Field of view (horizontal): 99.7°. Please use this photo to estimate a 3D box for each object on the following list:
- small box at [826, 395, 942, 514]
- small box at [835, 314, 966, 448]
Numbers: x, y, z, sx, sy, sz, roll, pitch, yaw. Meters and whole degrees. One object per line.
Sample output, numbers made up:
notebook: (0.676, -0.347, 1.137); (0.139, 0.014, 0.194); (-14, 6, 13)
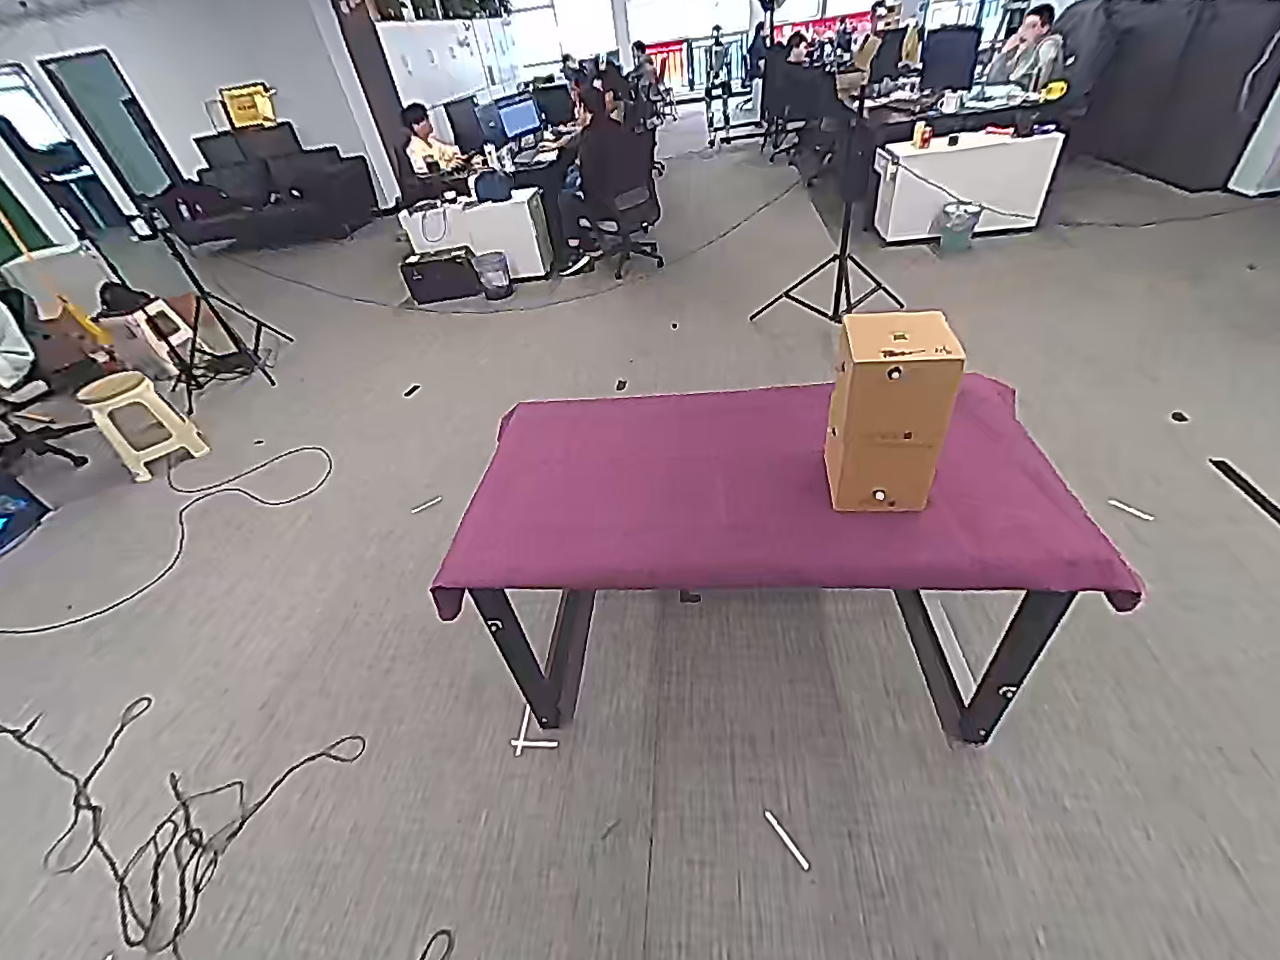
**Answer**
small box: (0.464, -0.054, 1.059); (0.168, 0.176, 0.179); (-1, 41, 11)
small box: (0.442, -0.175, 0.951); (0.168, 0.176, 0.179); (1, 40, 13)
